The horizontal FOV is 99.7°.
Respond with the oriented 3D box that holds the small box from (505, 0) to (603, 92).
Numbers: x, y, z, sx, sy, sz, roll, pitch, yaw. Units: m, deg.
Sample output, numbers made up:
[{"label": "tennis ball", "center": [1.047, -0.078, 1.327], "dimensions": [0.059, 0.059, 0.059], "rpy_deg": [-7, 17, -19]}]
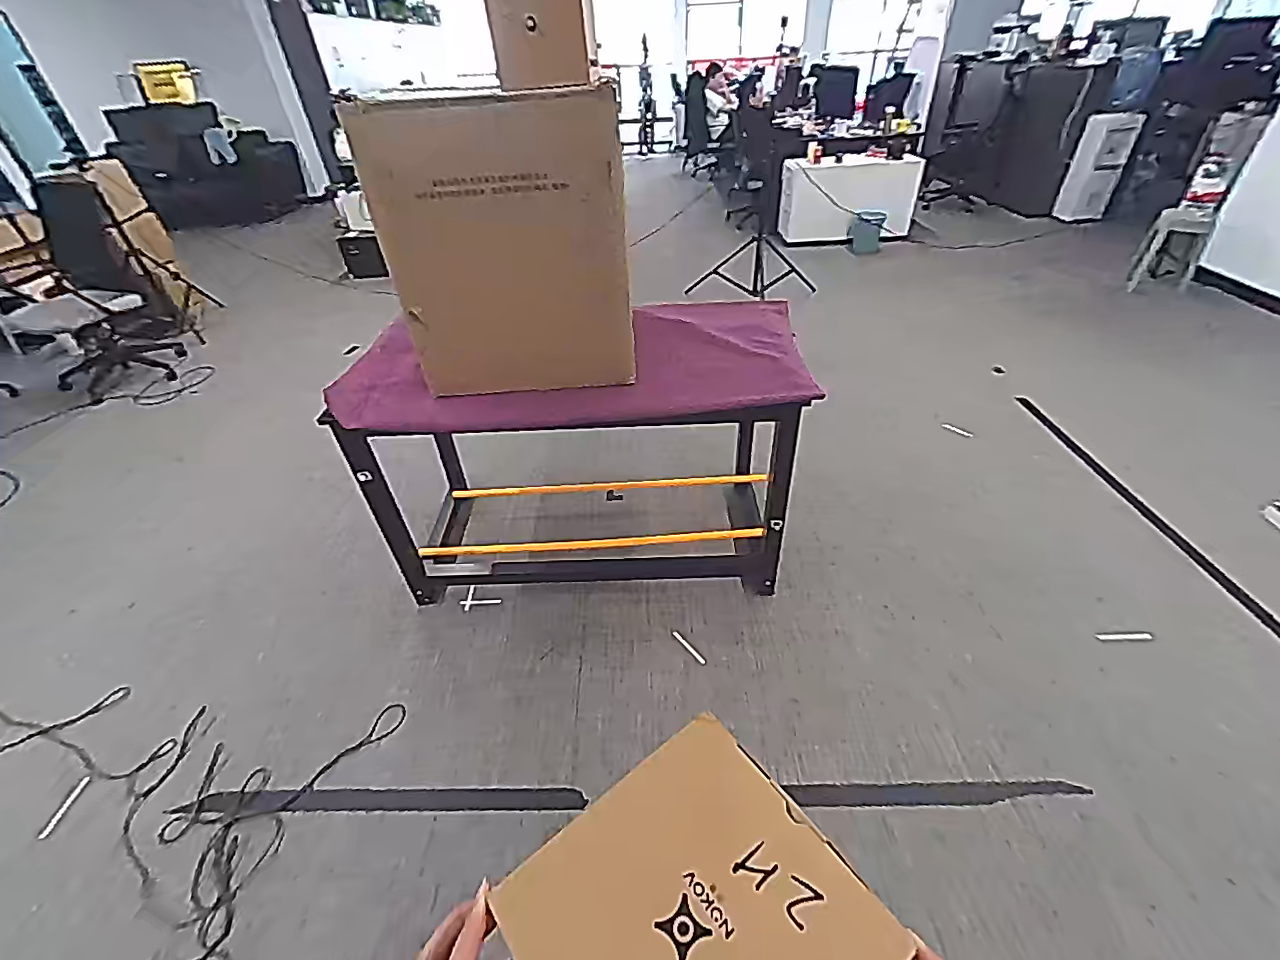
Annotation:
[{"label": "small box", "center": [-0.178, -0.944, 1.162], "dimensions": [0.179, 0.176, 0.168], "rpy_deg": [-4, 38, 1]}]
